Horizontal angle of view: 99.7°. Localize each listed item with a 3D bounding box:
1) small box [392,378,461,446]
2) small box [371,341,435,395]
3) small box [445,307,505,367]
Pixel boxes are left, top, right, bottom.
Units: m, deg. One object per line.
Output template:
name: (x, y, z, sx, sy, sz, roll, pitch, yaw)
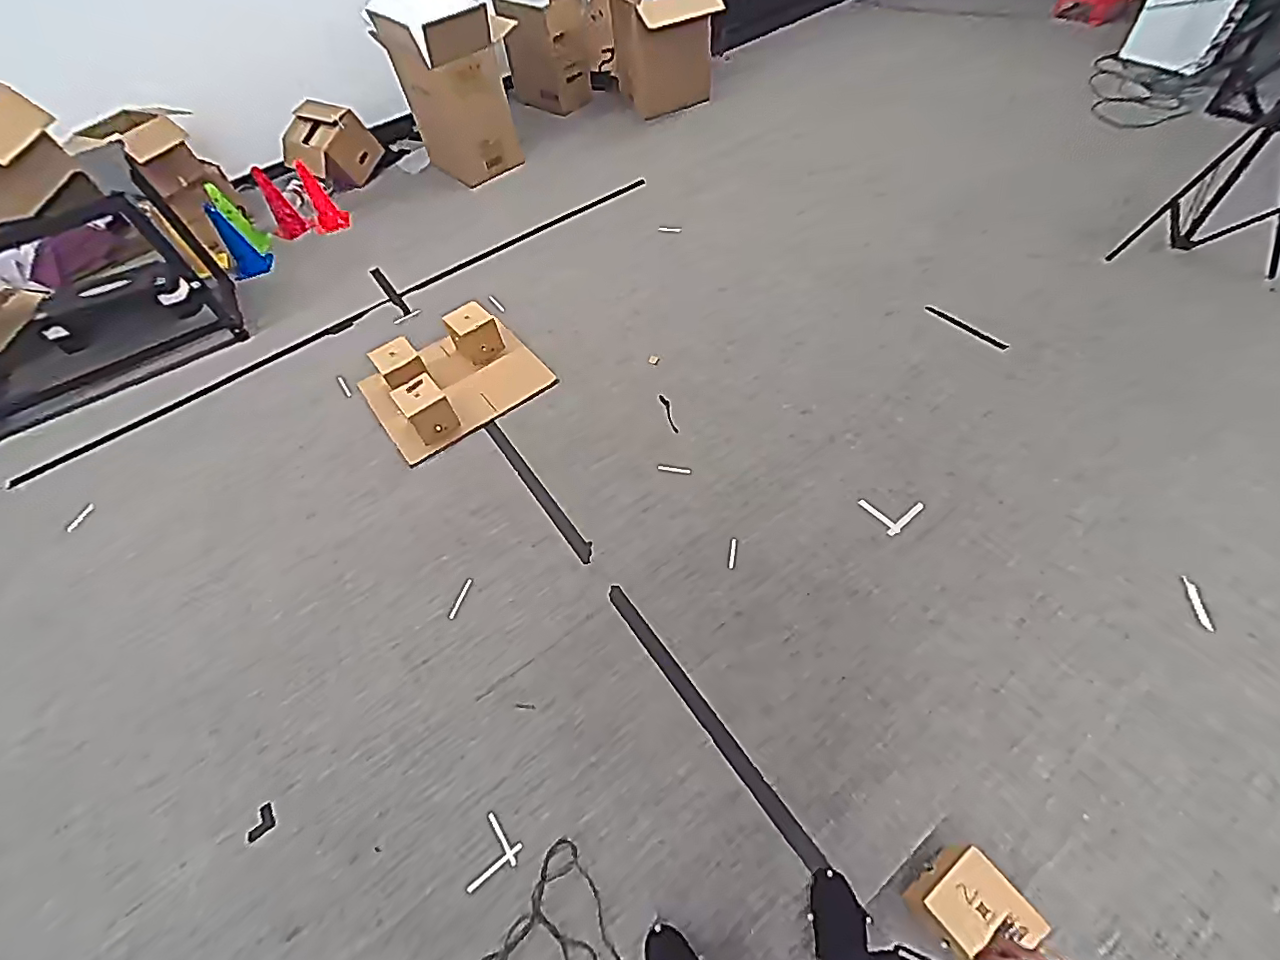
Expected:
small box: (-0.848, -0.267, 2.157, 0.168, 0.176, 0.179, -36, 59, -17)
small box: (-1.006, -0.452, 2.306, 0.168, 0.176, 0.179, -35, 58, -16)
small box: (-0.733, -0.634, 2.409, 0.168, 0.176, 0.179, -38, 59, -19)
